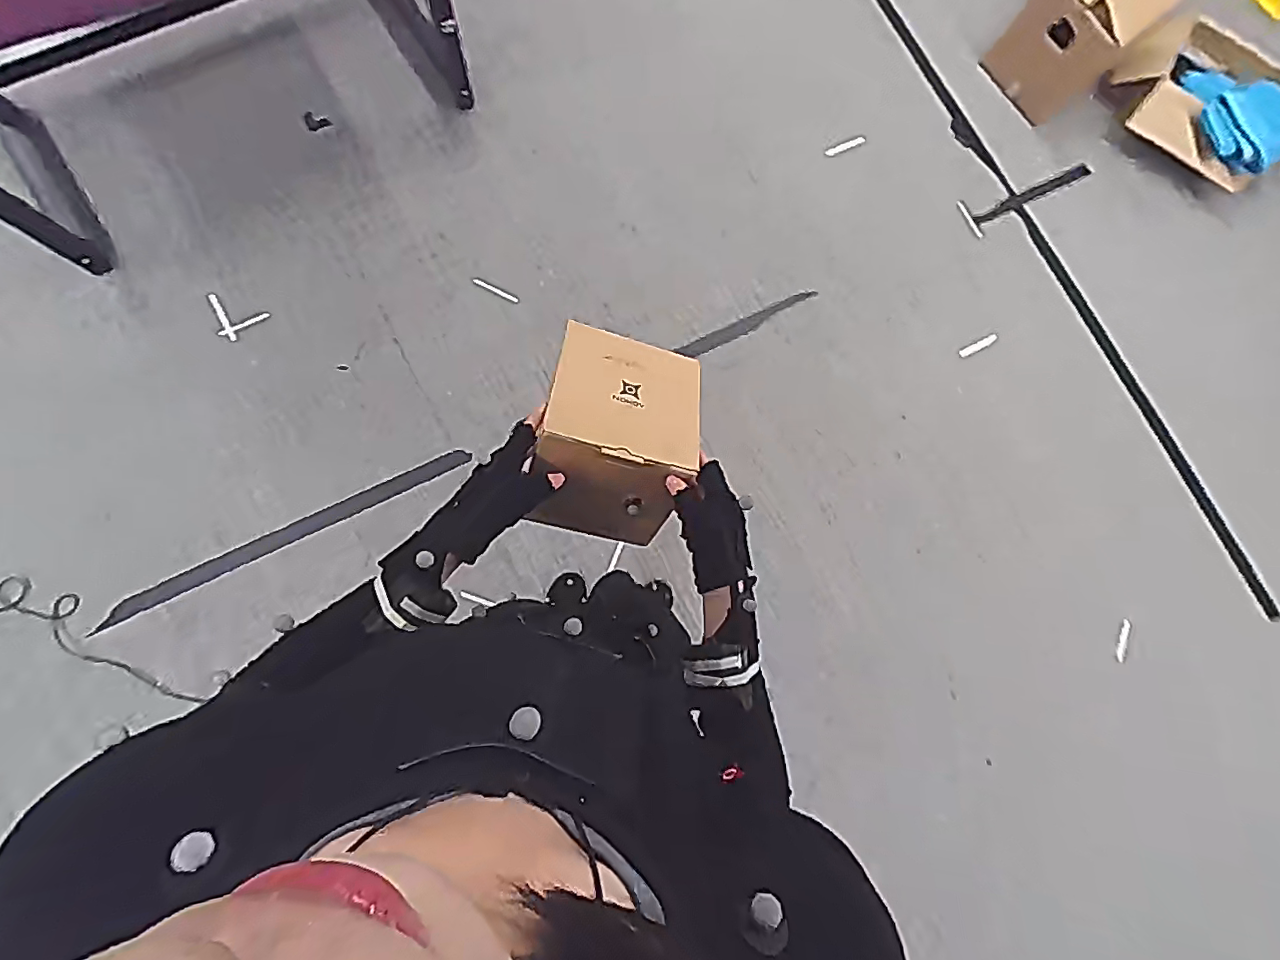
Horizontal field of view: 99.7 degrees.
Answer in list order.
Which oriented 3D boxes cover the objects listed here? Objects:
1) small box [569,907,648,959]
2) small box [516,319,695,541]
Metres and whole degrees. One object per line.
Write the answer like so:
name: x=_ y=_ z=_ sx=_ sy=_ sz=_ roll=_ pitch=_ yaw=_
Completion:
small box: x=-0.069 y=1.187 z=1.300 sx=0.179 sy=0.176 sz=0.168 roll=-15 pitch=83 yaw=-10
small box: x=-0.043 y=-0.050 z=0.638 sx=0.168 sy=0.176 sz=0.179 roll=15 pitch=51 yaw=-13
